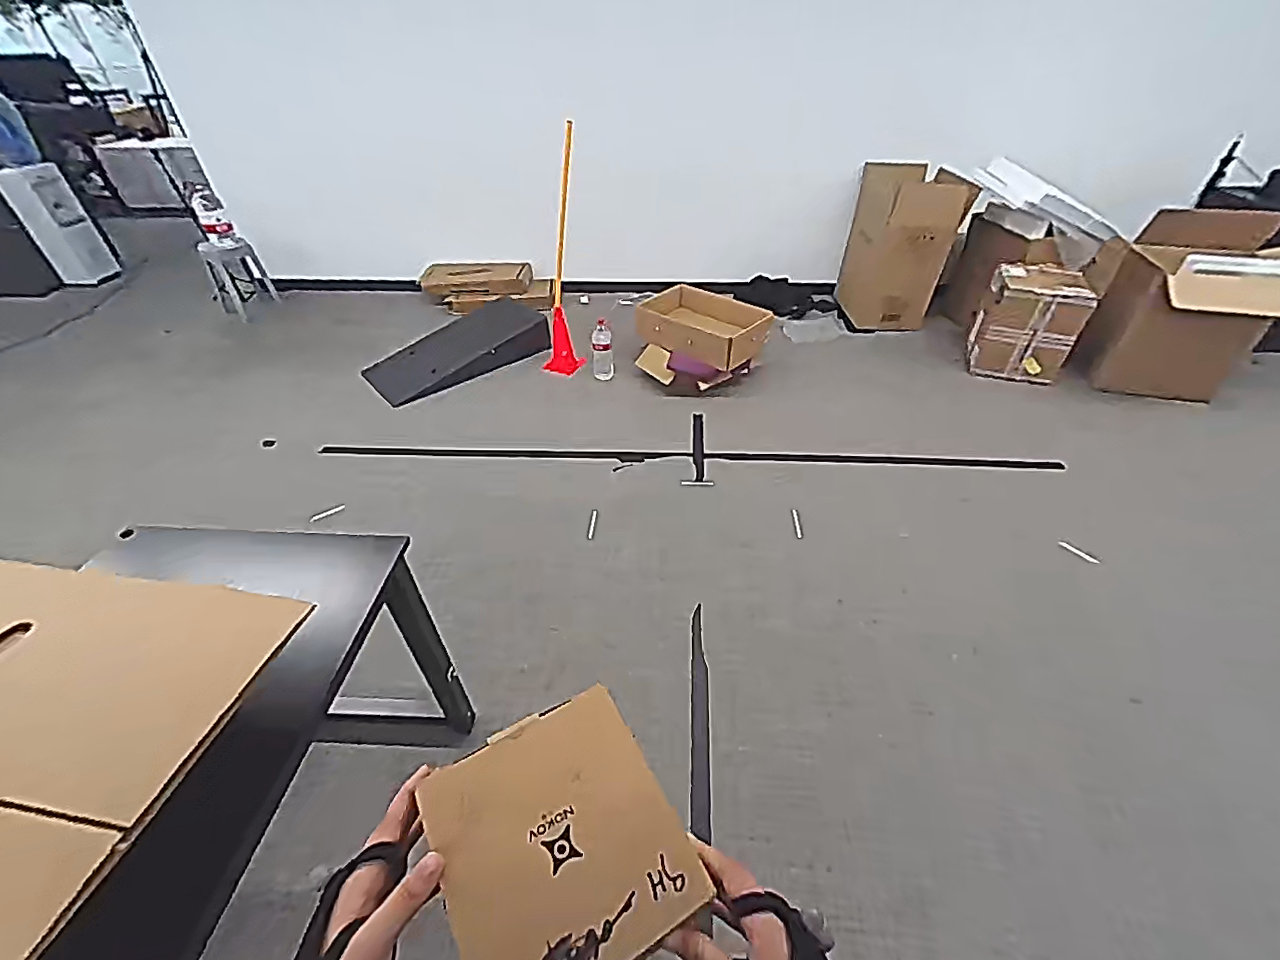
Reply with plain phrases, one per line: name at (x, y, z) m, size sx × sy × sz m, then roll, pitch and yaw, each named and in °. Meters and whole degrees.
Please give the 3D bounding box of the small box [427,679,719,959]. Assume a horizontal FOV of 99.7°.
small box at (-0.059, 0.312, 0.455) m, size 0.168 × 0.176 × 0.179 m, roll -21°, pitch 50°, yaw -21°
